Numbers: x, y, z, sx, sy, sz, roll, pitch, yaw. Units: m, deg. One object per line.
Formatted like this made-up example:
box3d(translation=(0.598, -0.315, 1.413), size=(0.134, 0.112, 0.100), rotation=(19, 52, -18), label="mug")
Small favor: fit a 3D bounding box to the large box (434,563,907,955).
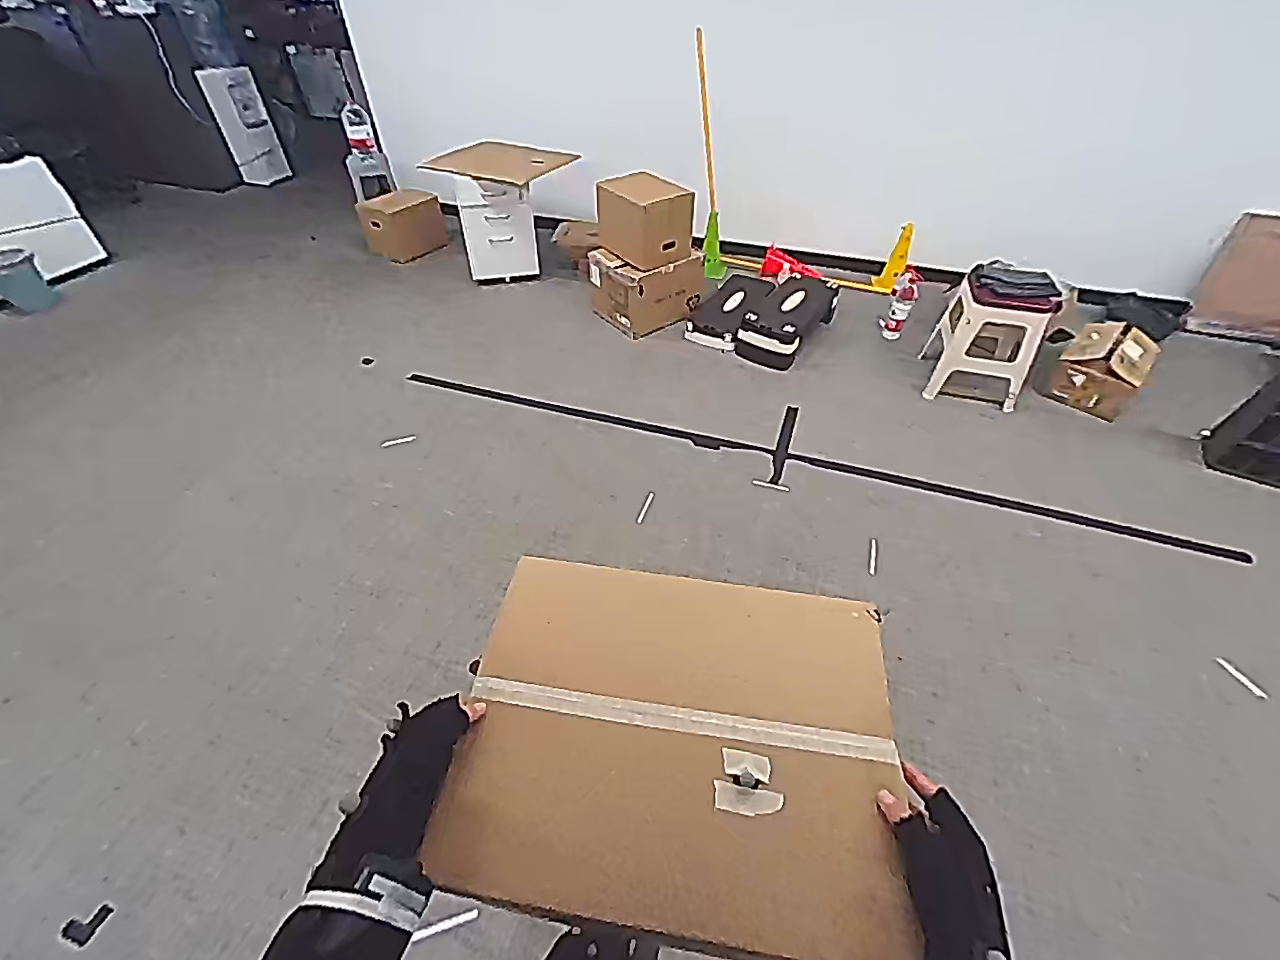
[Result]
box3d(translation=(0.036, 0.333, 0.651), size=(0.408, 0.320, 0.320), rotation=(7, 49, 6), label="large box")
